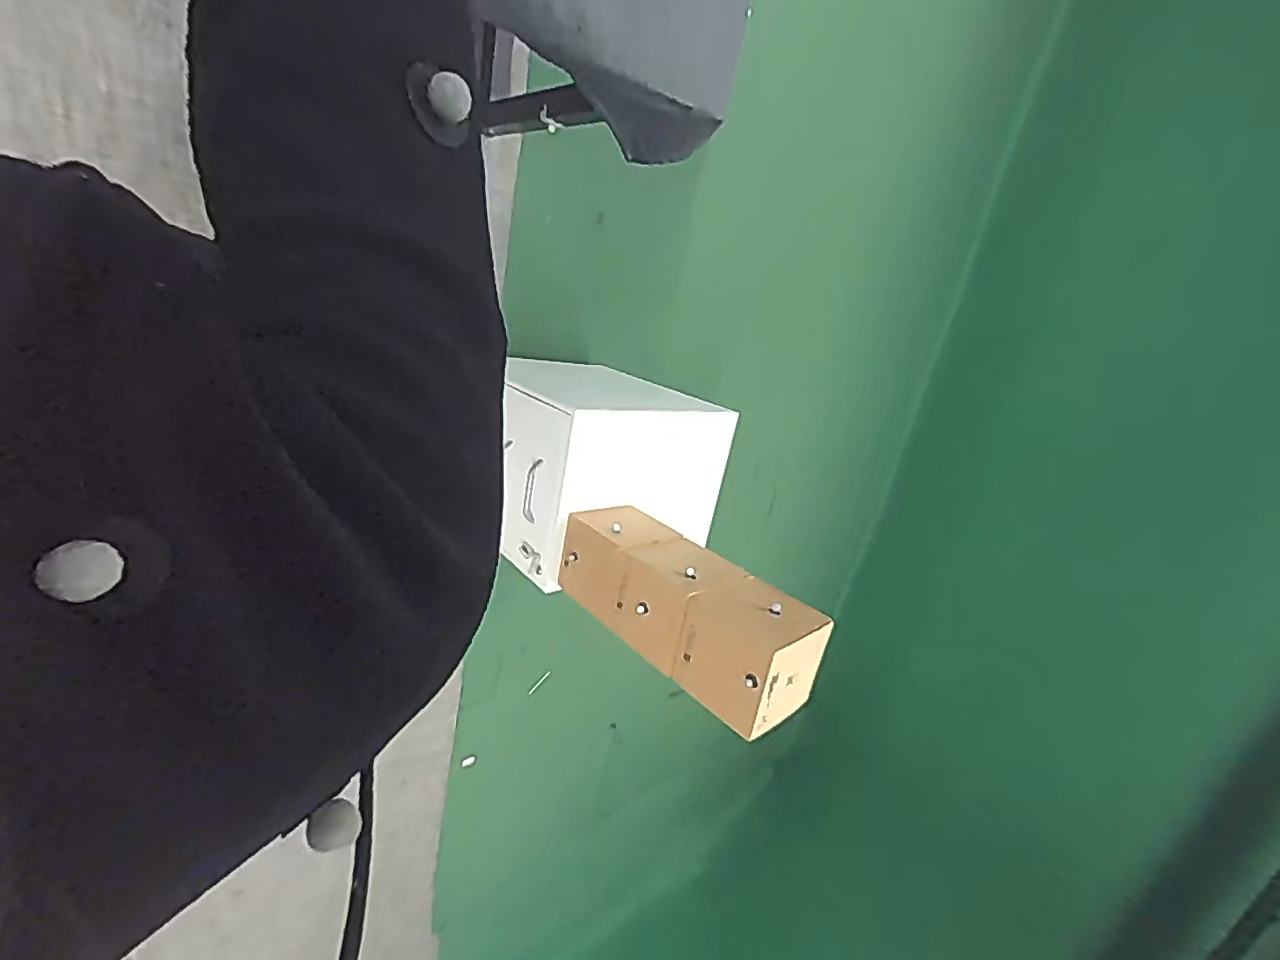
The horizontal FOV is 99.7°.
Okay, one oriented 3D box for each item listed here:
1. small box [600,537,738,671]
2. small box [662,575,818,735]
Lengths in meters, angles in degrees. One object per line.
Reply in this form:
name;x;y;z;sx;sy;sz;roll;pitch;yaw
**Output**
small box;0.049;0.220;1.011;0.179;0.176;0.168;-5;114;-45
small box;0.166;0.280;0.912;0.179;0.176;0.168;-8;116;-45
